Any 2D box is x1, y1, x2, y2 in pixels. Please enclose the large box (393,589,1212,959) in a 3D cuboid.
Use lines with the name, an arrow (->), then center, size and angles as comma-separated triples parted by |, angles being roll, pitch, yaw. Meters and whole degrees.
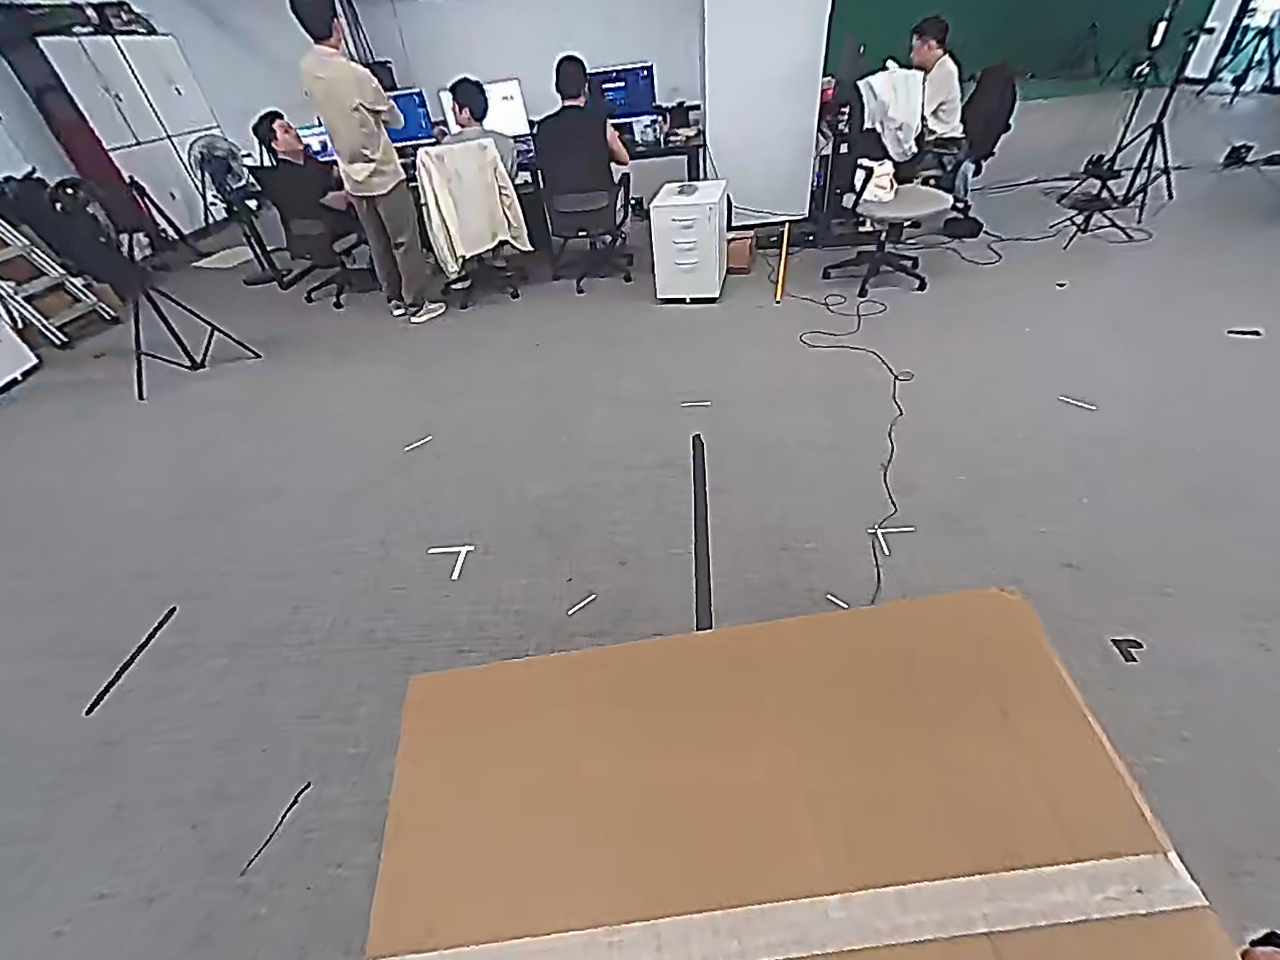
large box -> 0.081, 0.316, 0.394 | 0.408, 0.320, 0.320 | -10, 52, 2
